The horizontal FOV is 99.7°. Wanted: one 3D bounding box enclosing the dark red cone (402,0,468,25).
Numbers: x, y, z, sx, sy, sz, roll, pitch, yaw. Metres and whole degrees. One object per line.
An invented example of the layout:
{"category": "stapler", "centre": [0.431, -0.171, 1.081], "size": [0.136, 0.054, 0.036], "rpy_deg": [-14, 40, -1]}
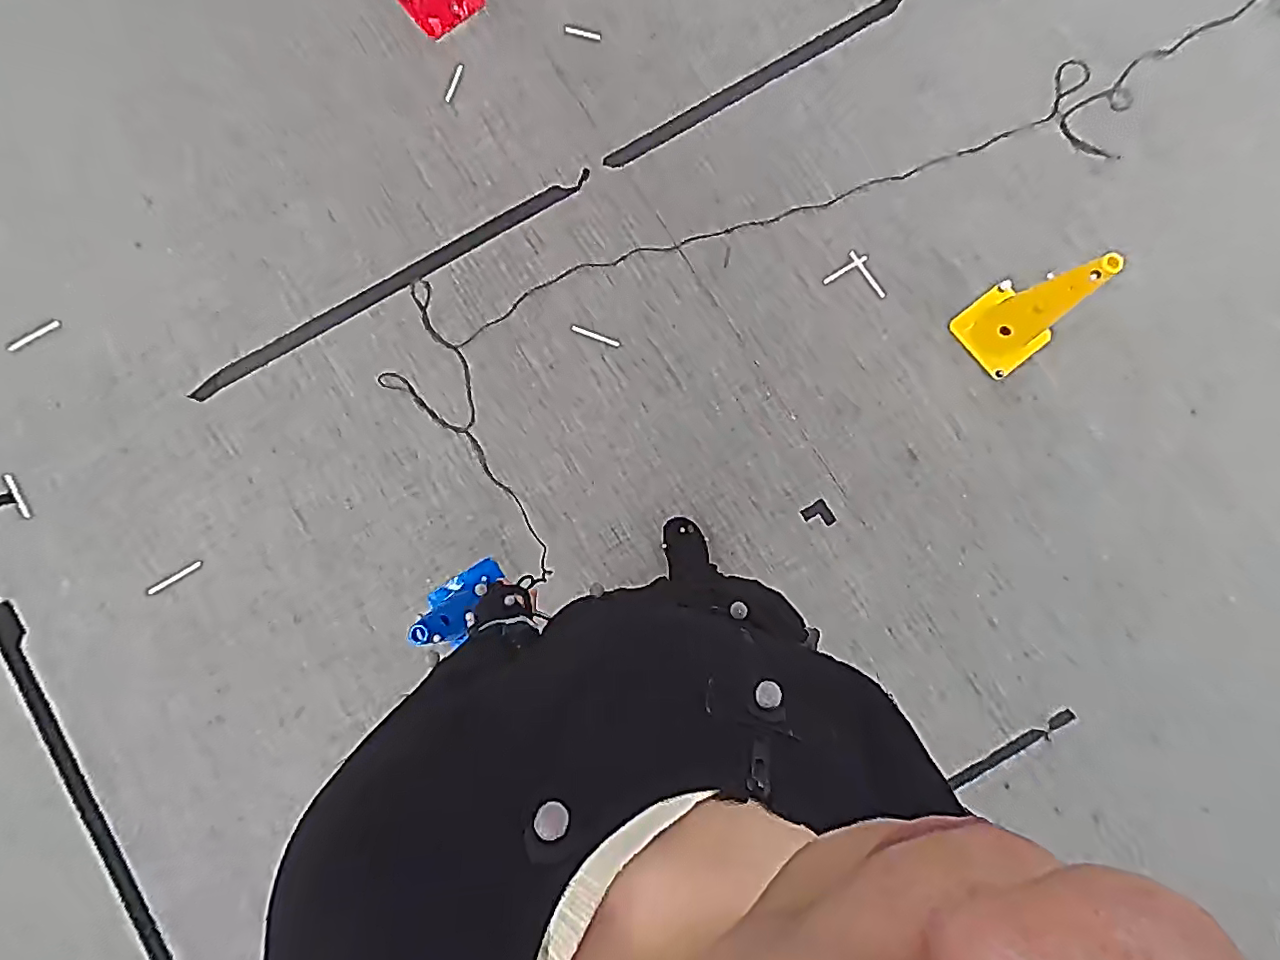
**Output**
{"category": "dark red cone", "centre": [-0.588, -1.420, 1.373], "size": [0.202, 0.394, 0.201], "rpy_deg": [-39, 85, -3]}

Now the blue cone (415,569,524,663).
{"category": "blue cone", "centre": [-0.411, 0.323, 1.202], "size": [0.193, 0.380, 0.192], "rpy_deg": [-31, 85, -2]}
